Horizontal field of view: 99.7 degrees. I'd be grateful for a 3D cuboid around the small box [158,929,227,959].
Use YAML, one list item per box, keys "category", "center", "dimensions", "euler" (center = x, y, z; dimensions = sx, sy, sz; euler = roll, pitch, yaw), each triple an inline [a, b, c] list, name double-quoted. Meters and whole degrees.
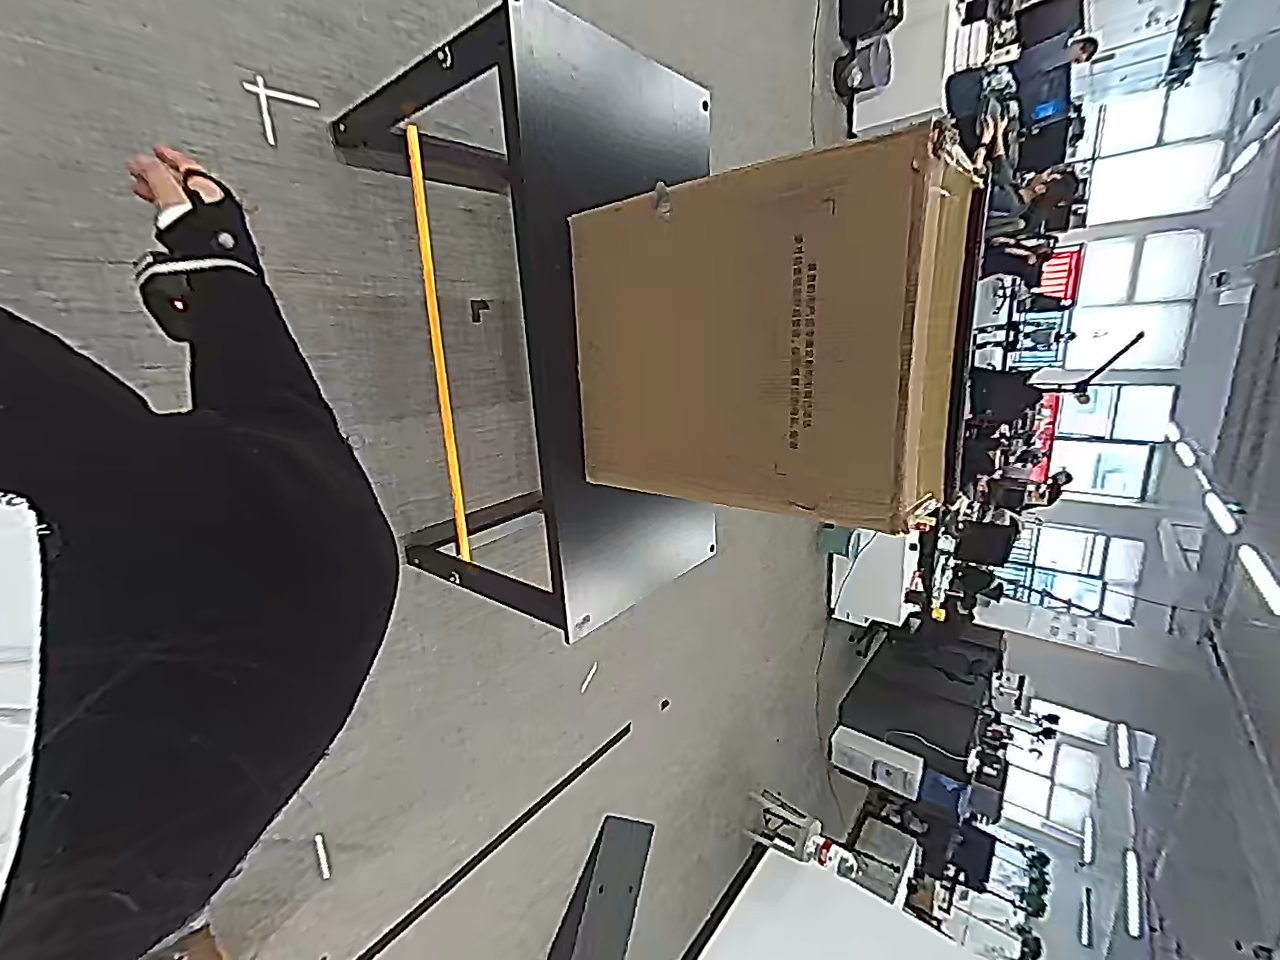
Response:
- category: "small box"
  center: [-1.059, 1.218, 1.265]
  dimensions: [0.168, 0.176, 0.179]
  euler: [-29, 117, -46]
